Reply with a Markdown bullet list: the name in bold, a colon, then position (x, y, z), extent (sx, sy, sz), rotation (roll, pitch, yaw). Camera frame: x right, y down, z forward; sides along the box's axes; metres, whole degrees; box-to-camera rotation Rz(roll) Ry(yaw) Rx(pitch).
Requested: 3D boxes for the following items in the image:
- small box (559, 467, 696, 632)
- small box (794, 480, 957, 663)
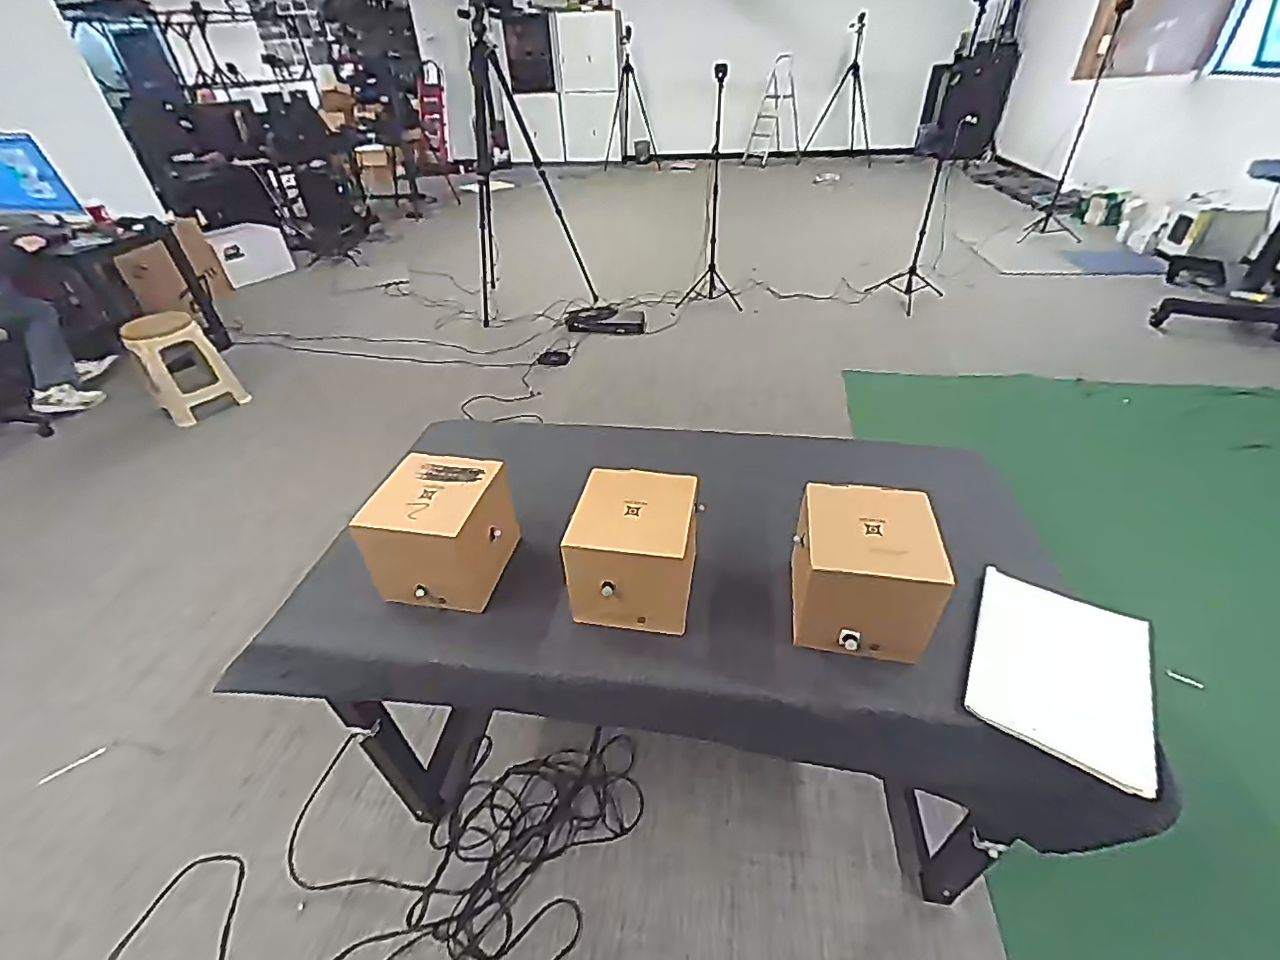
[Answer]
- **small box**: position (-0.007, 0.102, 0.803), extent (0.168, 0.176, 0.179), rotation (5, 38, 10)
- **small box**: position (0.310, 0.124, 0.755), extent (0.168, 0.176, 0.179), rotation (4, 40, 11)
